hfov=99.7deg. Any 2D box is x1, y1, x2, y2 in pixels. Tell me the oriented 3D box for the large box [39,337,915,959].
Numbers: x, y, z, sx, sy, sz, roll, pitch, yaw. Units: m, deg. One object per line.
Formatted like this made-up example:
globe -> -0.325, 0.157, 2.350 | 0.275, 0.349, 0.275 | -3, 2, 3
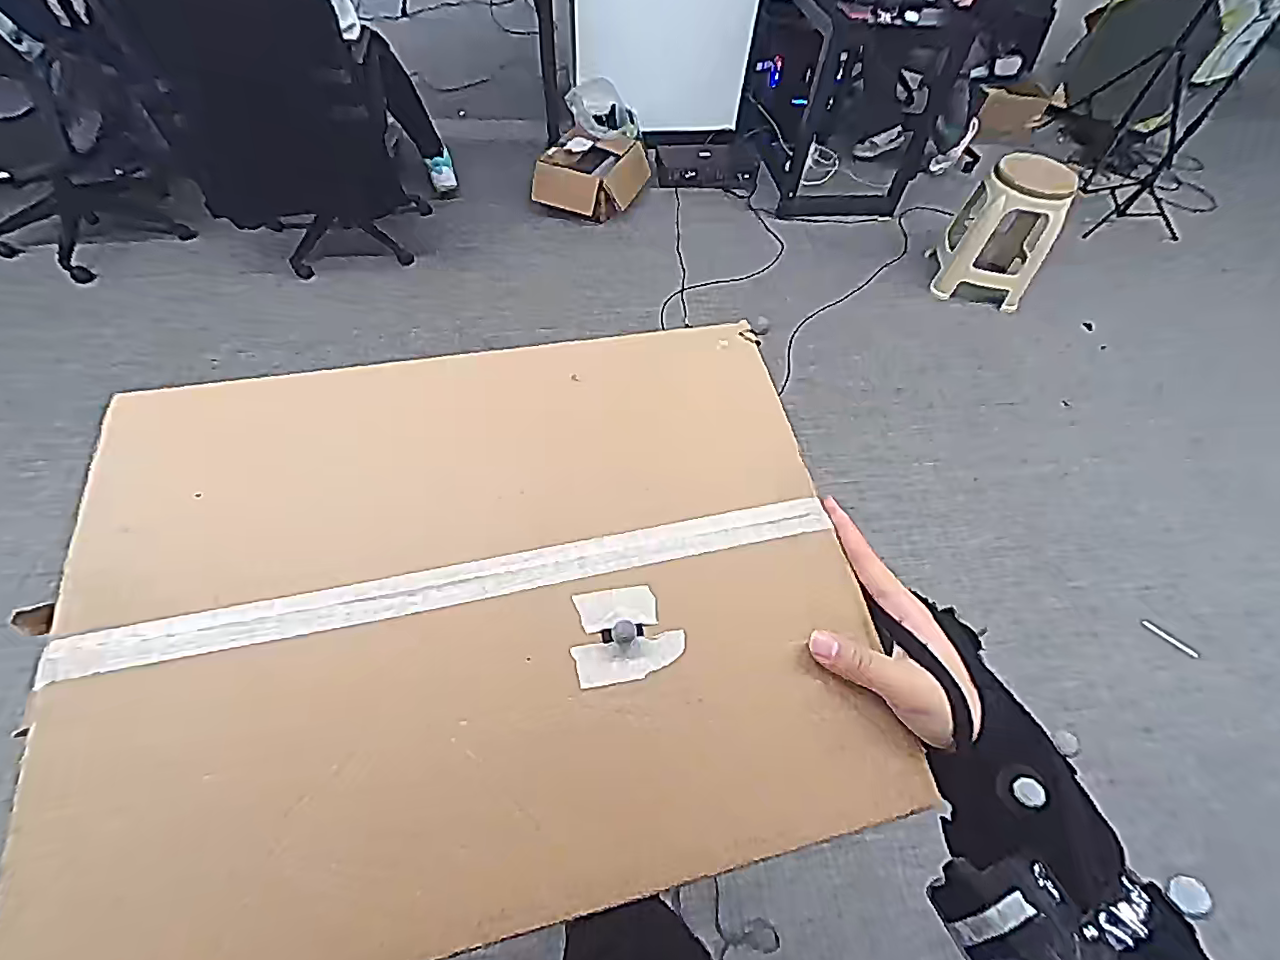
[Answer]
large box -> -0.095, 0.125, 0.438 | 0.408, 0.320, 0.320 | -9, 66, -11
